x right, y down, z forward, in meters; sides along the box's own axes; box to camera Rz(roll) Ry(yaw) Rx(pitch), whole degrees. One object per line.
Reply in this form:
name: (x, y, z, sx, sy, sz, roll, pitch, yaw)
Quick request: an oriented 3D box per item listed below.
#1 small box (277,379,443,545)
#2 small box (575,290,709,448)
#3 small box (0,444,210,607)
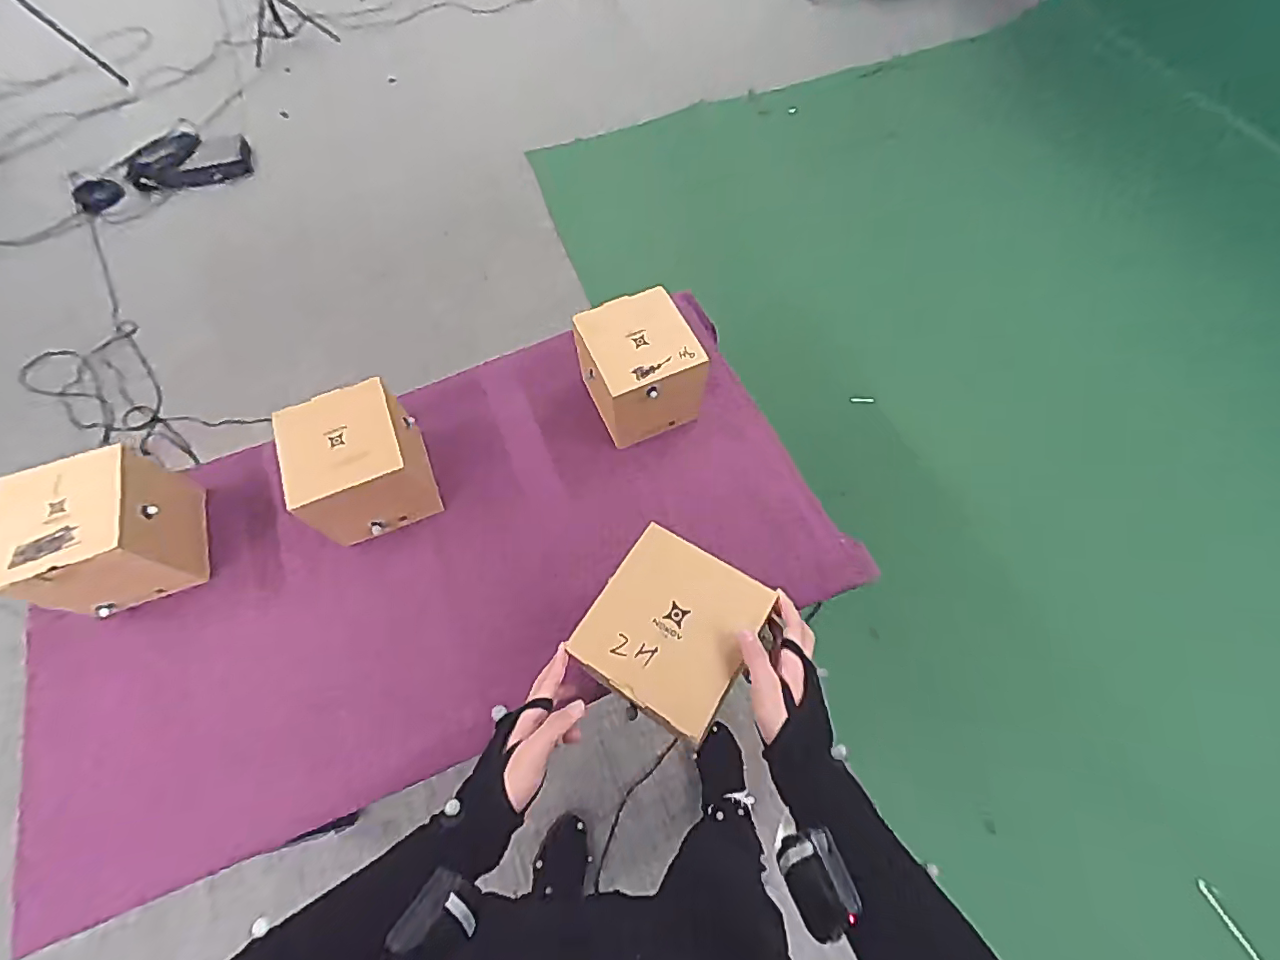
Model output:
small box: (-0.437, -0.023, 0.859, 0.168, 0.176, 0.179, -21, 66, -9)
small box: (0.001, -0.185, 0.929, 0.168, 0.176, 0.179, -23, 65, -9)
small box: (-0.787, 0.079, 0.810, 0.168, 0.176, 0.179, -19, 66, -9)
